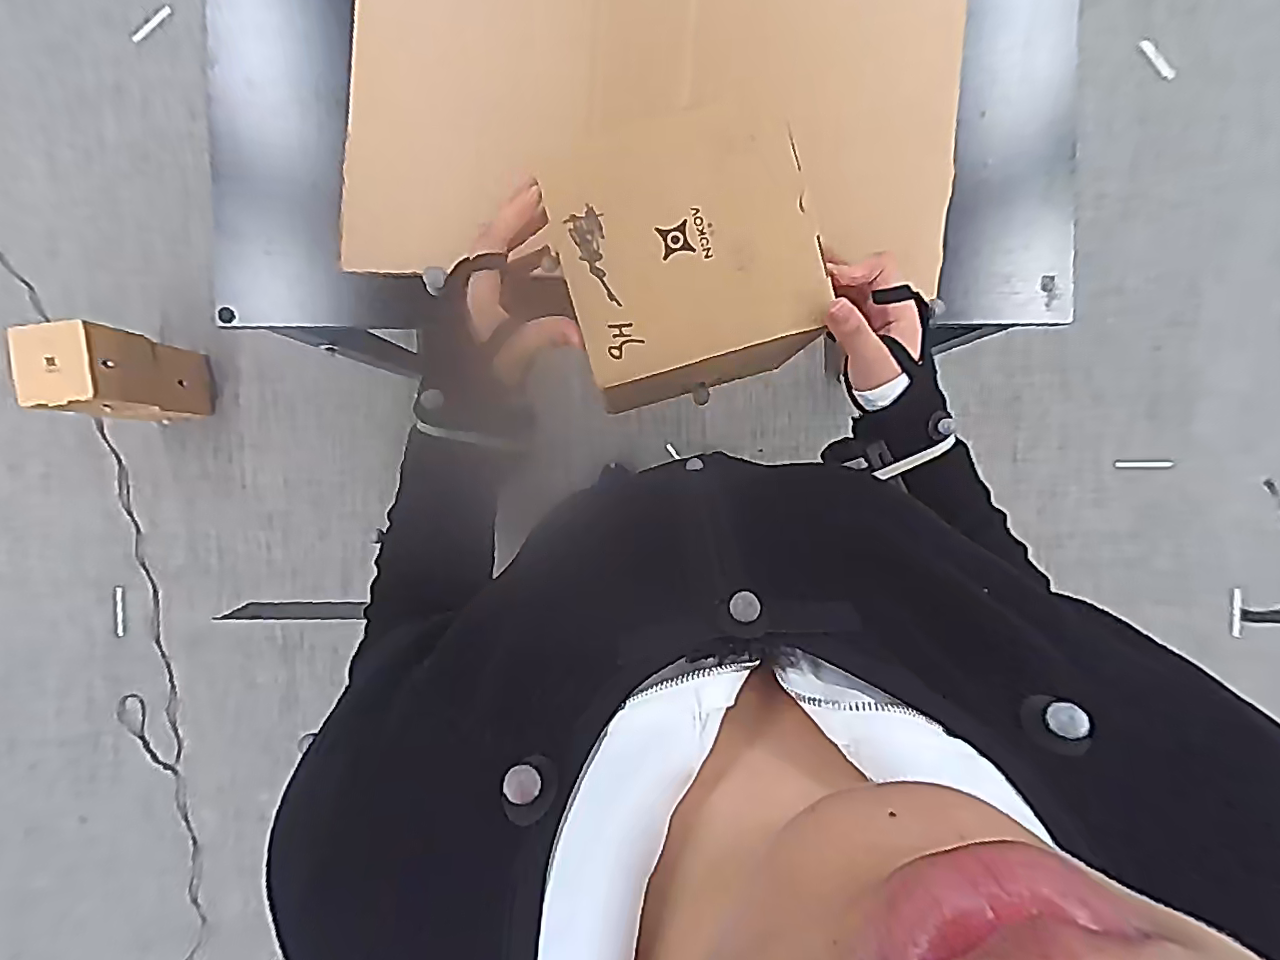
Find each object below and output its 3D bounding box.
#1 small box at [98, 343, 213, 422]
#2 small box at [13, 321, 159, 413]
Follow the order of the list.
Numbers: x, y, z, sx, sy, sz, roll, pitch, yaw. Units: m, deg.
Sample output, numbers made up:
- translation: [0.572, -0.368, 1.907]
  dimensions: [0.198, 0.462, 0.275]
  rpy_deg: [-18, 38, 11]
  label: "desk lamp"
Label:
- translation: [-1.267, -0.251, 1.415]
  dimensions: [0.168, 0.176, 0.179]
  rpy_deg: [-4, 92, 0]
  label: "small box"
- translation: [-1.268, -0.252, 1.252]
  dimensions: [0.168, 0.176, 0.179]
  rpy_deg: [-7, 91, 0]
  label: "small box"
